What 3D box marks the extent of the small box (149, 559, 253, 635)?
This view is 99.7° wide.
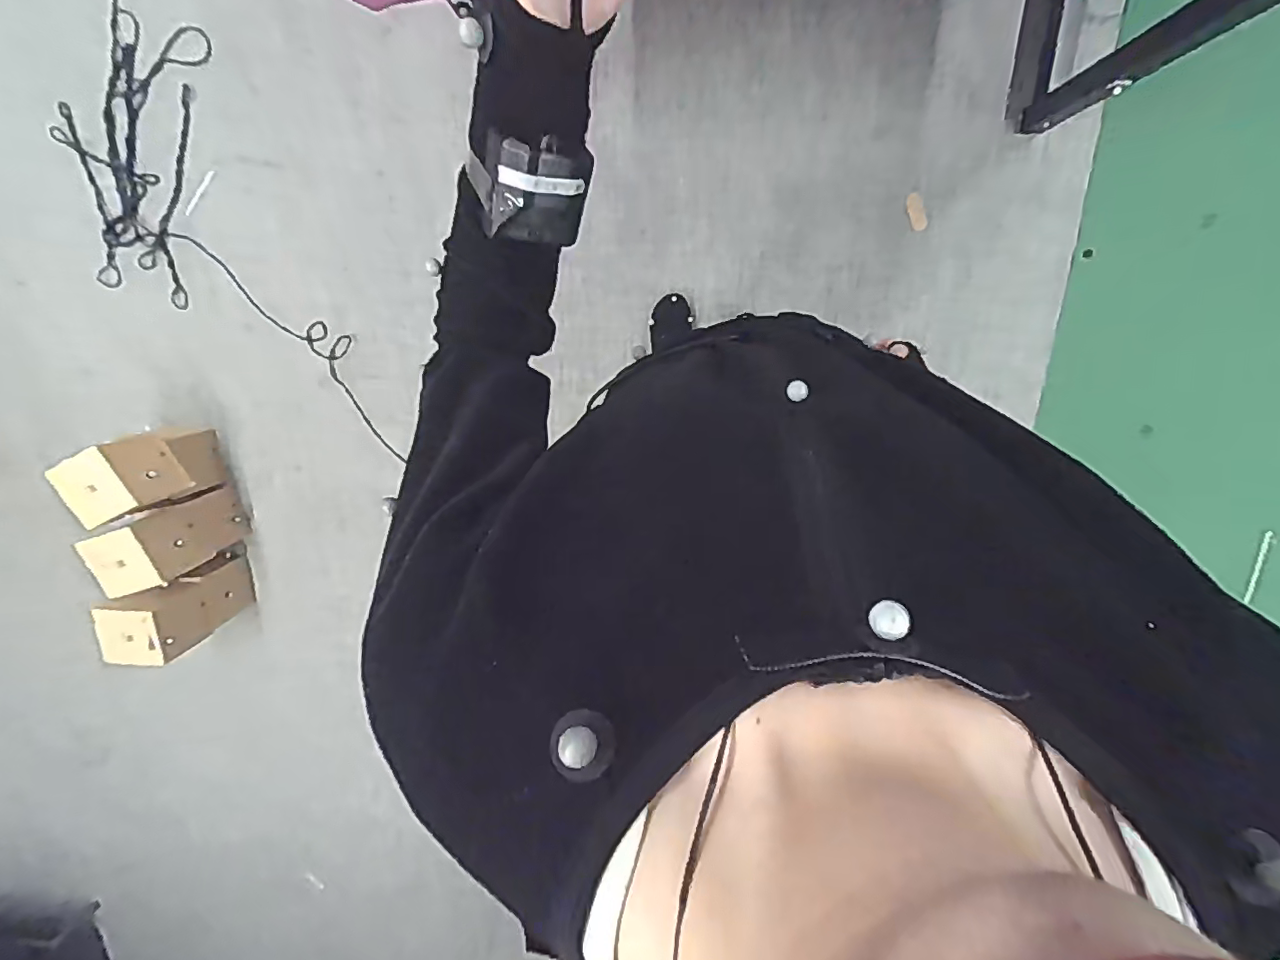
[{"bbox_3d":[-1.331,0.349,1.647,0.168,0.176,0.179,1,107,5],"label":"small box"}]

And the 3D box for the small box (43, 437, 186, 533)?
[{"bbox_3d":[-1.319,0.005,1.377,0.179,0.176,0.168,-23,103,11],"label":"small box"}]

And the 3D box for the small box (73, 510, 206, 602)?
[{"bbox_3d":[-1.307,0.194,1.433,0.179,0.176,0.168,-15,104,9],"label":"small box"}]
